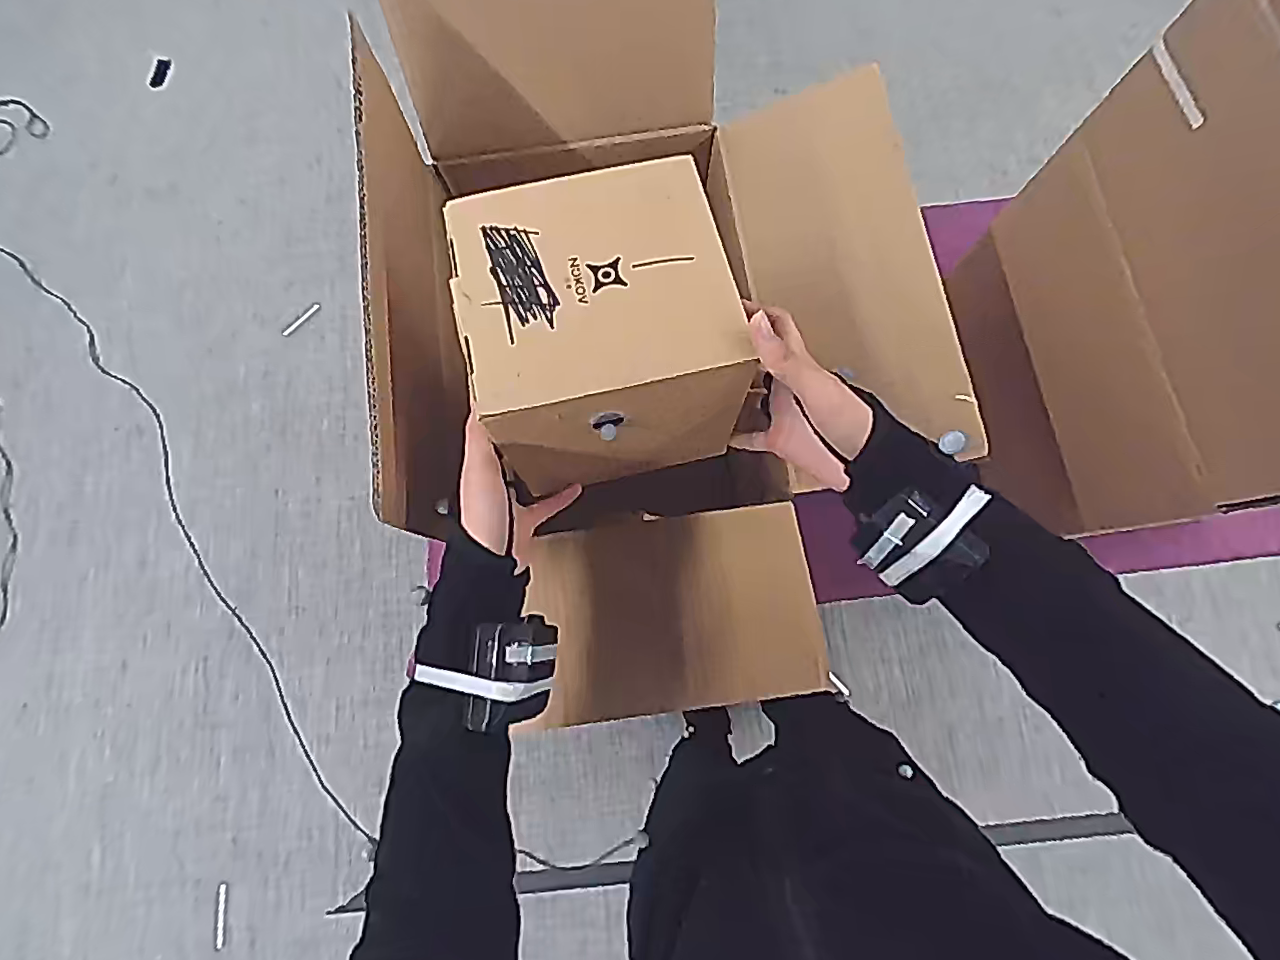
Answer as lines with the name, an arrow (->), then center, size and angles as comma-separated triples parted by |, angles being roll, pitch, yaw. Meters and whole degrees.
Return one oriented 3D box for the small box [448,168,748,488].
small box -> -0.031, -0.104, 0.433 | 0.179, 0.176, 0.168 | -13, 73, -4
